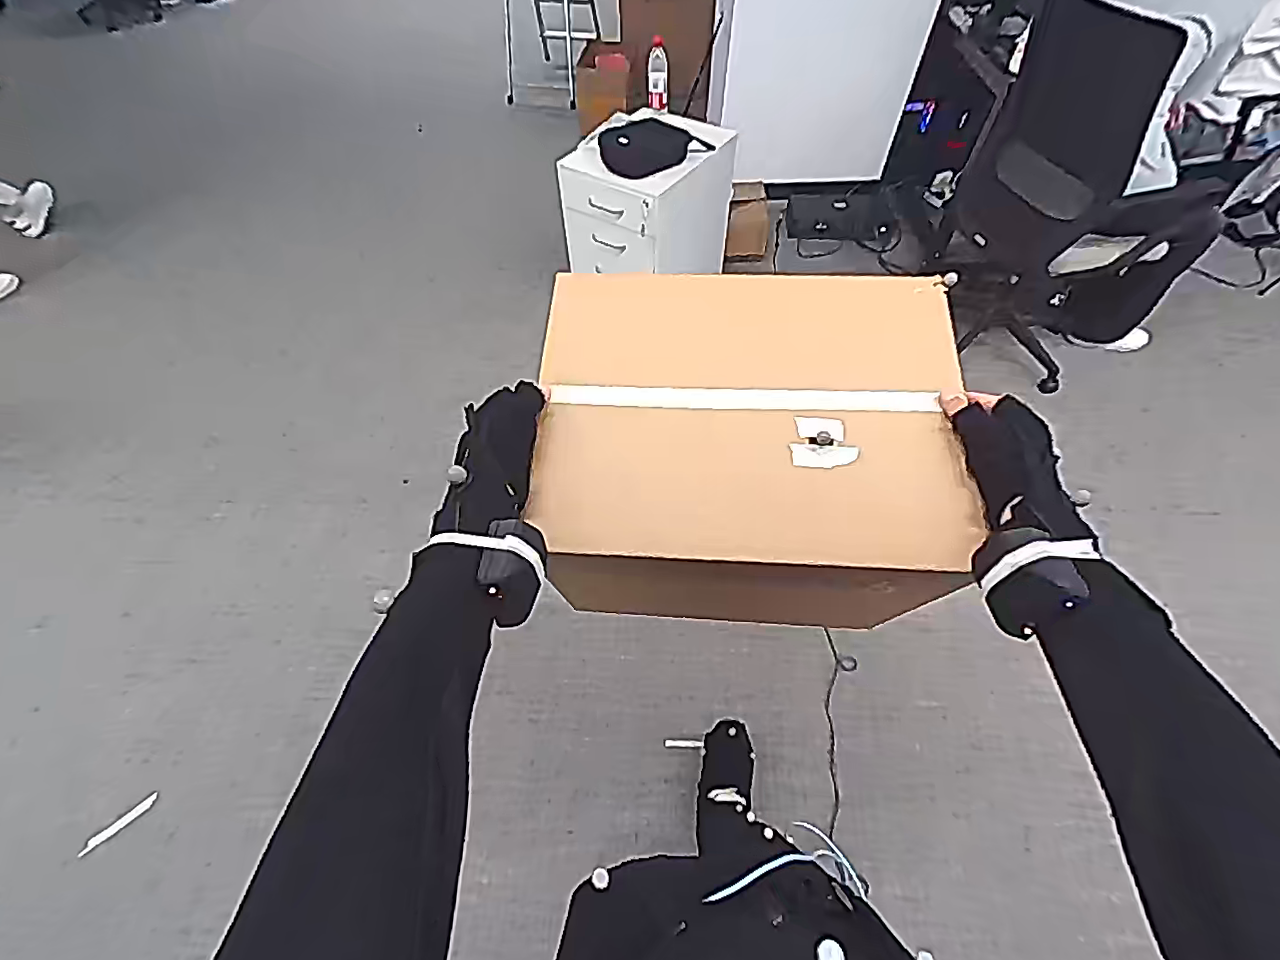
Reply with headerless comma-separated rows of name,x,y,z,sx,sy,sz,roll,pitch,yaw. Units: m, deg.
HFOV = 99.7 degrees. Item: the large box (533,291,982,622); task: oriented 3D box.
large box,0.111,-0.008,0.672,0.408,0.320,0.320,2,67,4
